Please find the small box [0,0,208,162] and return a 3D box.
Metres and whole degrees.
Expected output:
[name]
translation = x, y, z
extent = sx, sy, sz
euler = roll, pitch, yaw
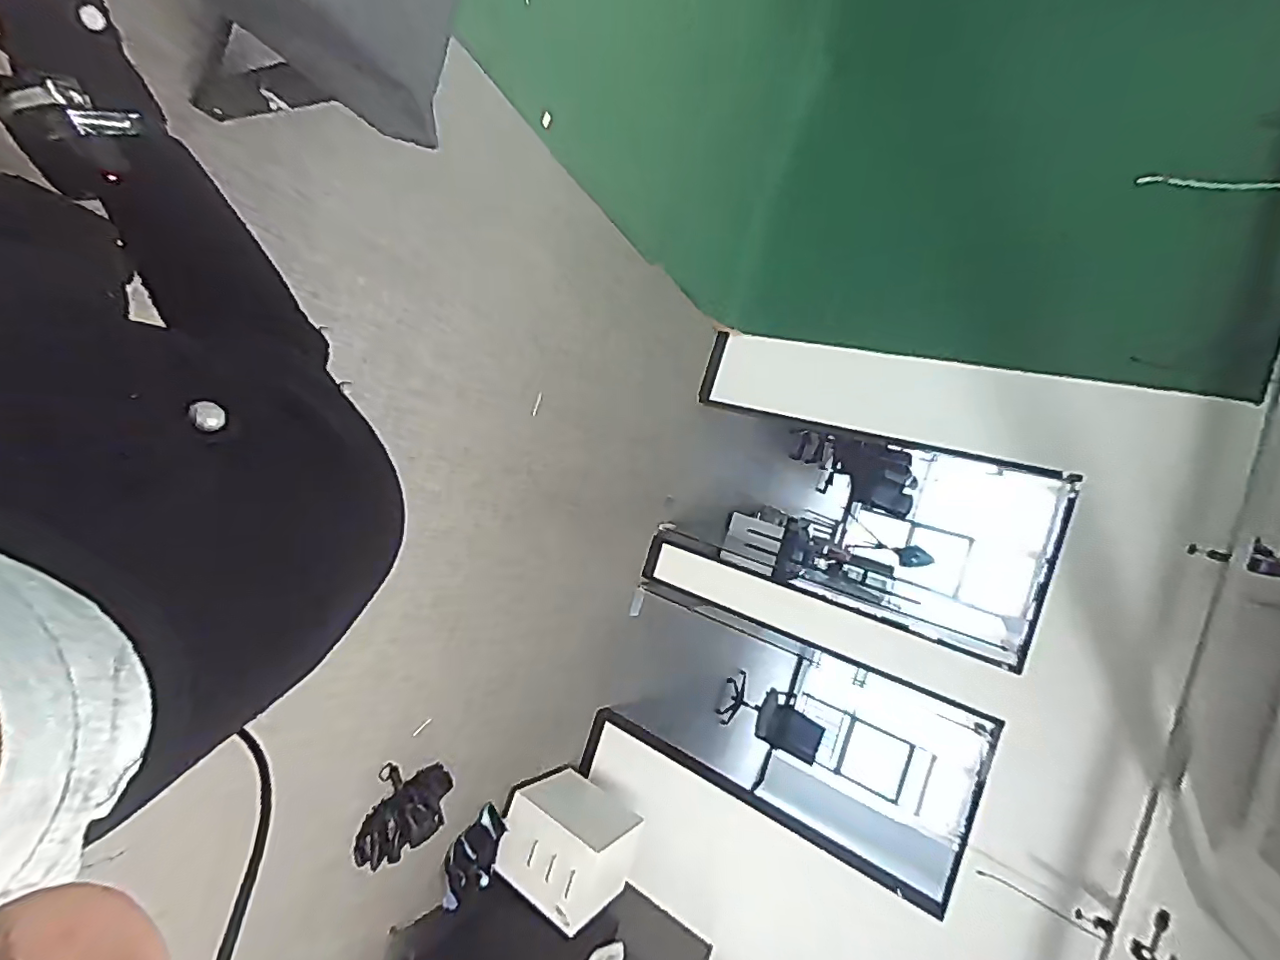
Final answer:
[small box]
translation = -0.403, -0.343, 0.306
extent = 0.176, 0.168, 0.179
euler = -43, 168, 5
